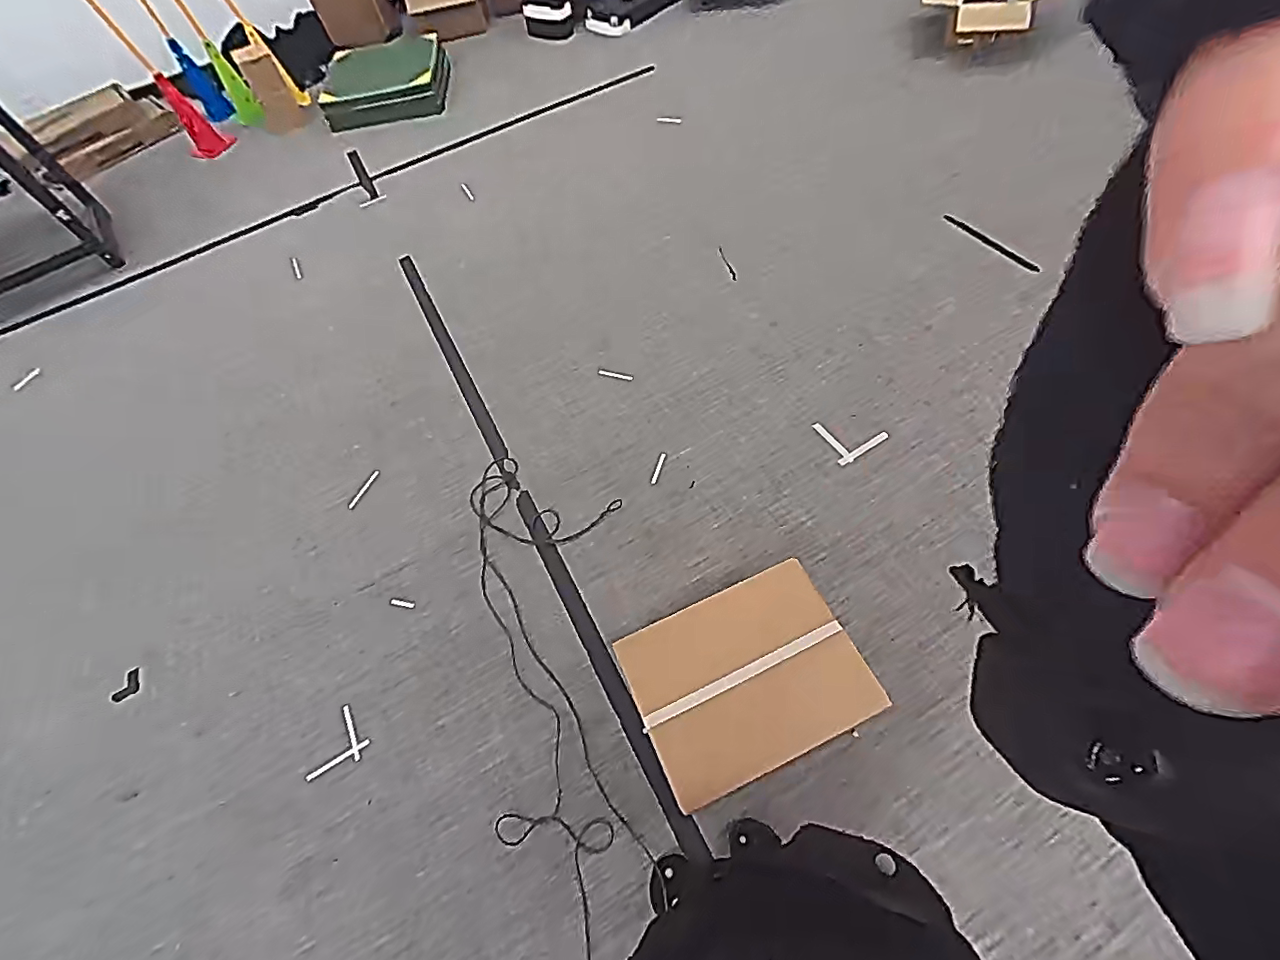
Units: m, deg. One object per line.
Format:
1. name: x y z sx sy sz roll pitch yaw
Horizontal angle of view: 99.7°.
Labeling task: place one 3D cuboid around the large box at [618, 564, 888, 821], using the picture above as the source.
1. large box: 0.212 0.438 1.112 0.408 0.320 0.320 -24 58 -7
